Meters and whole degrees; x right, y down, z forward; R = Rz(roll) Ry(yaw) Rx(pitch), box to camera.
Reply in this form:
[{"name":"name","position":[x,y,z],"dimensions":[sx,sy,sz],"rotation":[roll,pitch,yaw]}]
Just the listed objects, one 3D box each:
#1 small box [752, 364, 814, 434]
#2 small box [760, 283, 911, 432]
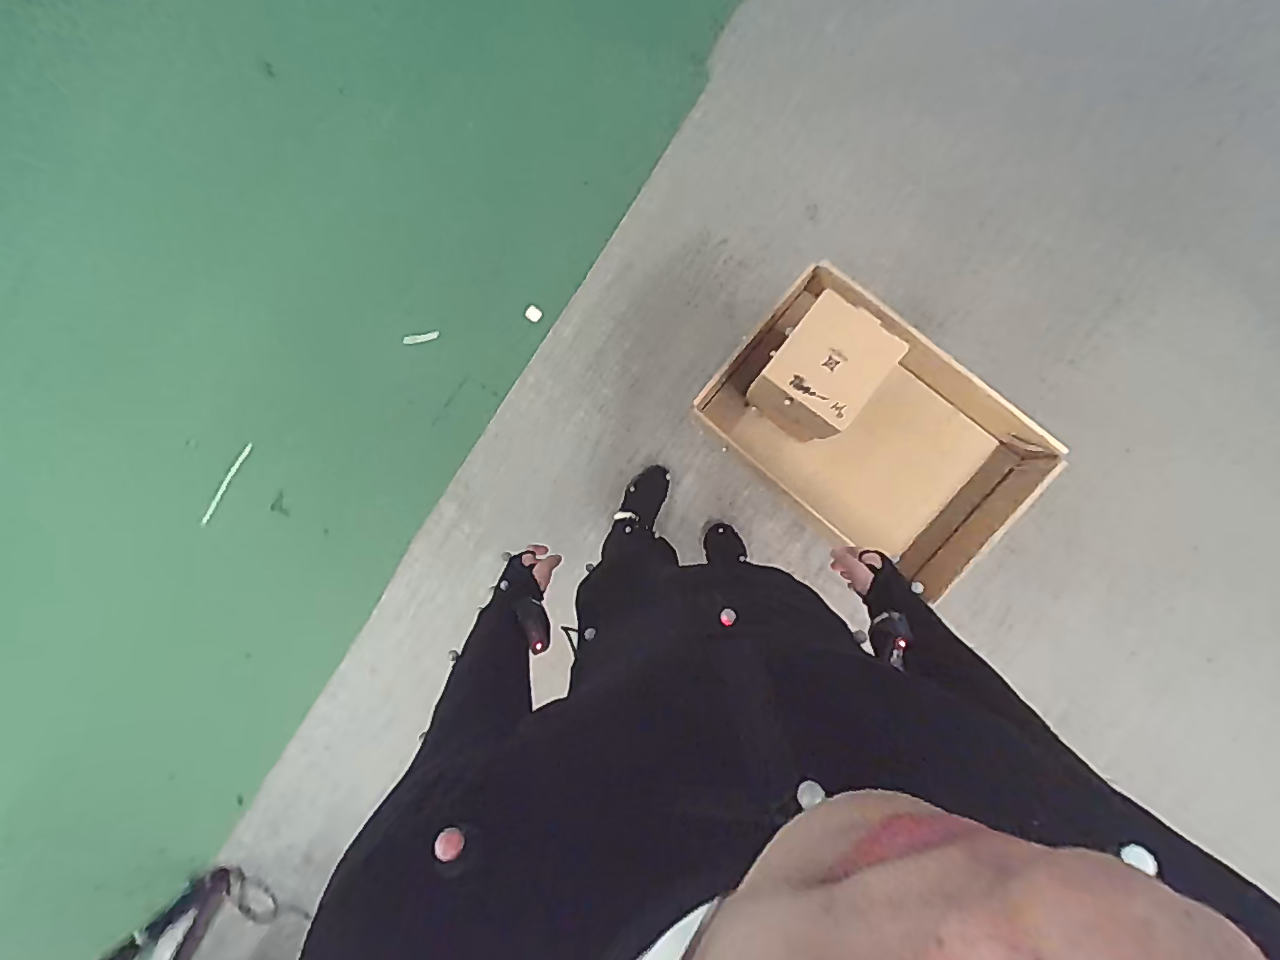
[{"name":"small box","position":[0.347,-0.211,1.113],"dimensions":[0.168,0.176,0.179],"rotation":[41,95,5]},{"name":"small box","position":[0.326,-0.204,0.951],"dimensions":[0.168,0.176,0.179],"rotation":[39,95,6]}]
